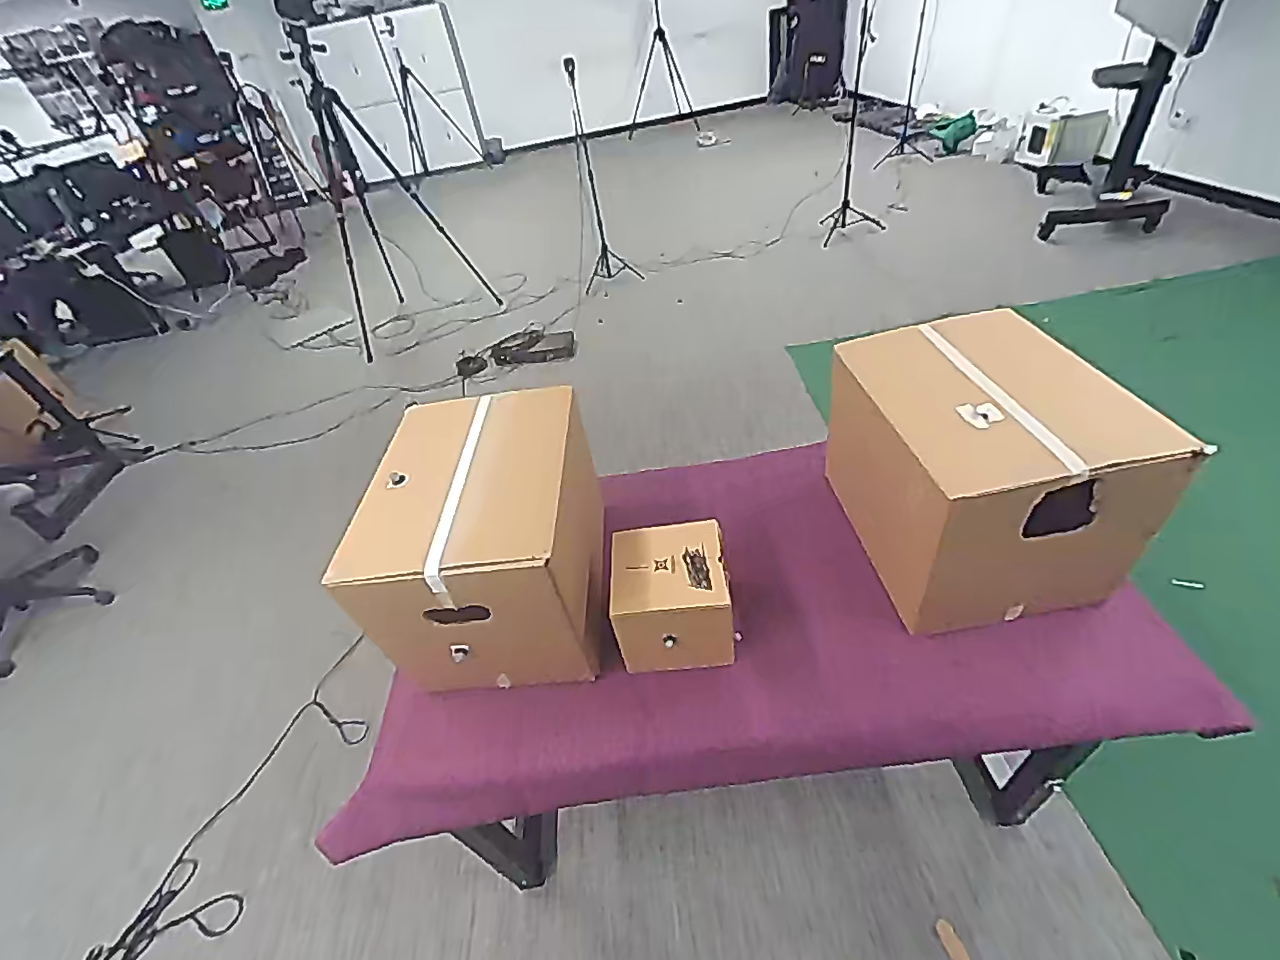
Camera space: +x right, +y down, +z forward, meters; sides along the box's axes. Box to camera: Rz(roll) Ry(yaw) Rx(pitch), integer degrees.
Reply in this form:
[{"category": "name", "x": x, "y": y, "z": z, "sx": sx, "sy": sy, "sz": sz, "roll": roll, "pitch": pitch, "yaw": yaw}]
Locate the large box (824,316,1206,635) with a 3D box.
[{"category": "large box", "x": 0.531, "y": -0.018, "z": 0.895, "sx": 0.320, "sy": 0.320, "sz": 0.408, "roll": -12, "pitch": 42, "yaw": 3}]
